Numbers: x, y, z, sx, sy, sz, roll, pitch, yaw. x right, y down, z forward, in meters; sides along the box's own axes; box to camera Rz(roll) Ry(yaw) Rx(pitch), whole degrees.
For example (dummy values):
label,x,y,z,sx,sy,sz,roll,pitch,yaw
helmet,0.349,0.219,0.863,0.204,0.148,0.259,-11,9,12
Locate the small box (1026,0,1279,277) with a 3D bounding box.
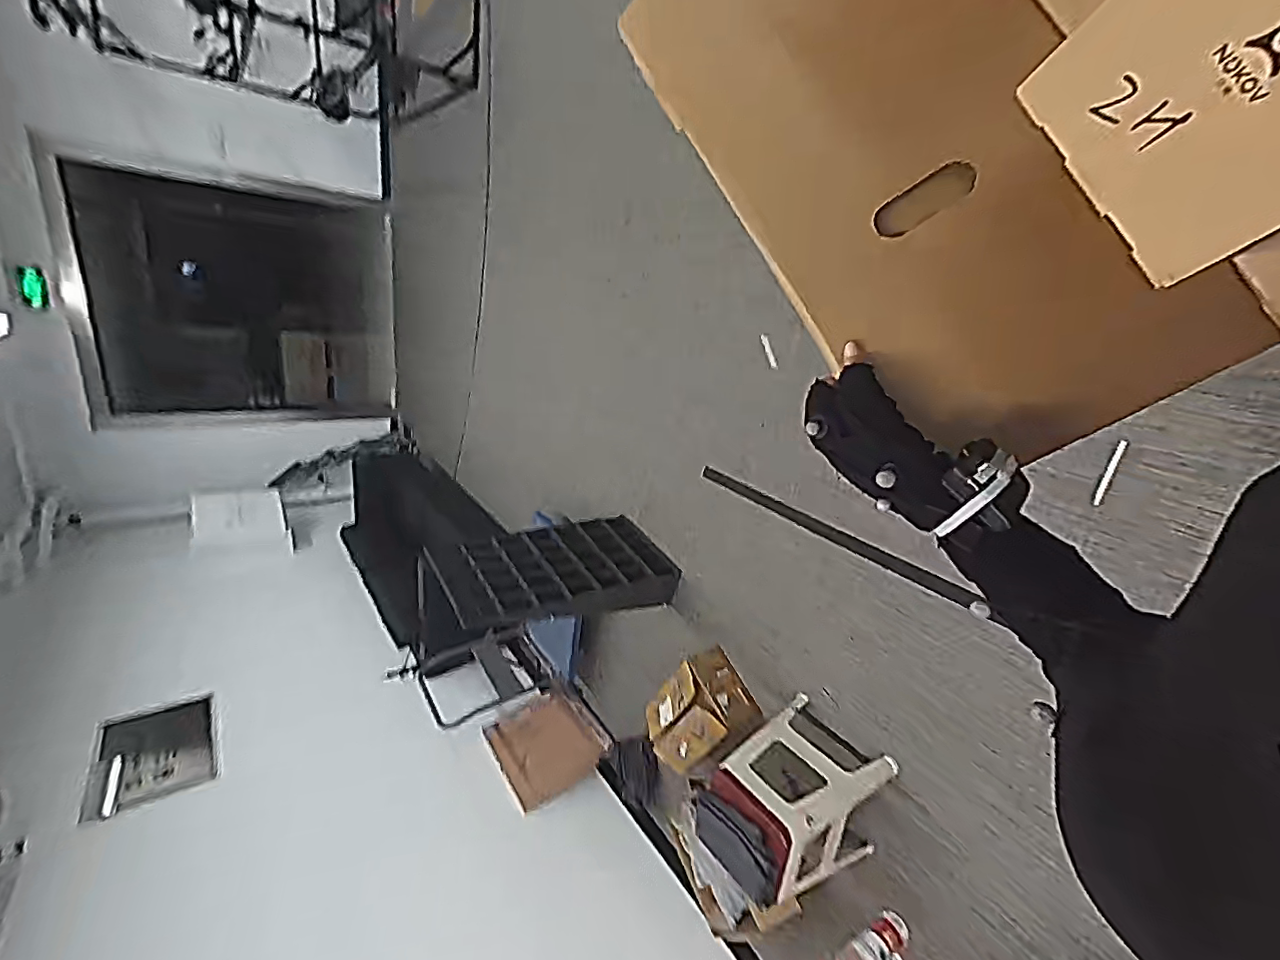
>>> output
label,x,y,z,sx,sy,sz,roll,pitch,yaw
small box,0.392,-0.253,0.320,0.168,0.176,0.179,64,152,8
